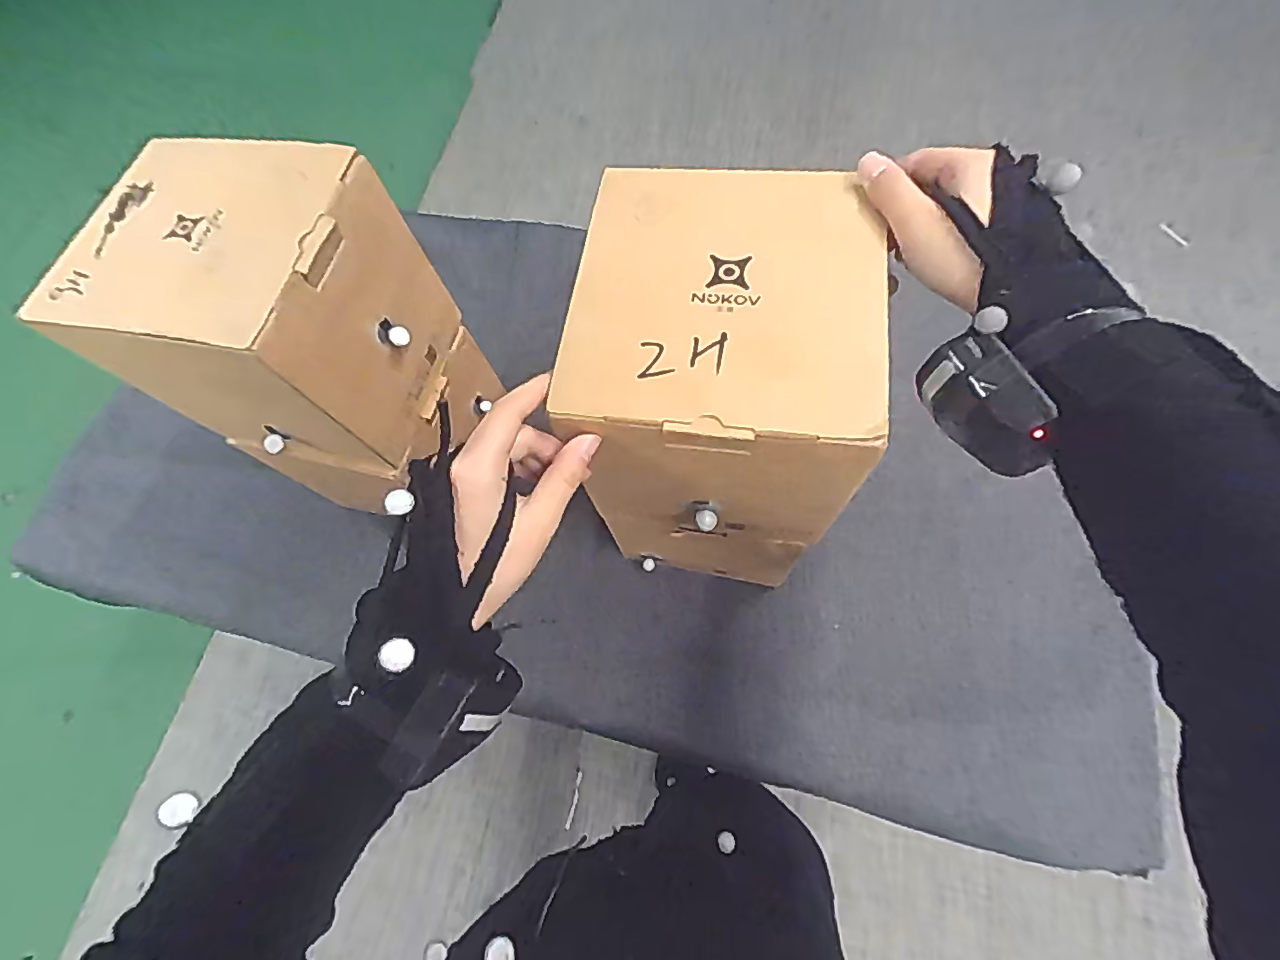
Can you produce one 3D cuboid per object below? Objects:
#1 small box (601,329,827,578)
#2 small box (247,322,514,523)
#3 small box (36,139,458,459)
[{"bbox_3d":[0.073,-0.016,0.522,0.168,0.176,0.179,9,68,9],"label":"small box"},{"bbox_3d":[-0.253,-0.059,0.579,0.179,0.176,0.168,7,71,9],"label":"small box"},{"bbox_3d":[-0.273,-0.130,0.428,0.179,0.176,0.168,9,68,9],"label":"small box"}]
